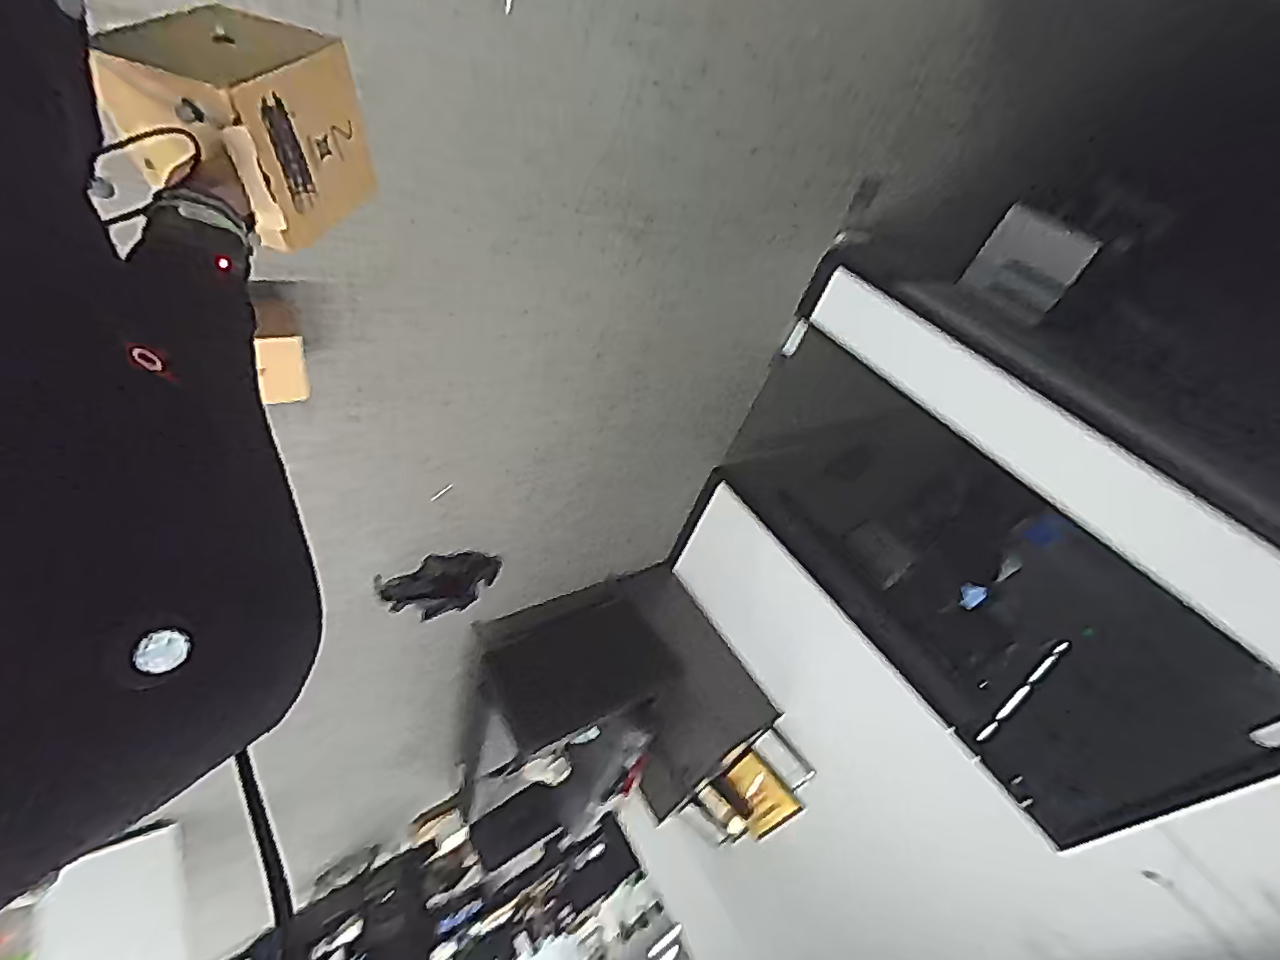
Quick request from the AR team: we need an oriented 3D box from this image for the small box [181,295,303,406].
[{"bbox_3d":[-0.852,-0.284,1.164,0.179,0.176,0.168,-14,143,-35],"label":"small box"}]
